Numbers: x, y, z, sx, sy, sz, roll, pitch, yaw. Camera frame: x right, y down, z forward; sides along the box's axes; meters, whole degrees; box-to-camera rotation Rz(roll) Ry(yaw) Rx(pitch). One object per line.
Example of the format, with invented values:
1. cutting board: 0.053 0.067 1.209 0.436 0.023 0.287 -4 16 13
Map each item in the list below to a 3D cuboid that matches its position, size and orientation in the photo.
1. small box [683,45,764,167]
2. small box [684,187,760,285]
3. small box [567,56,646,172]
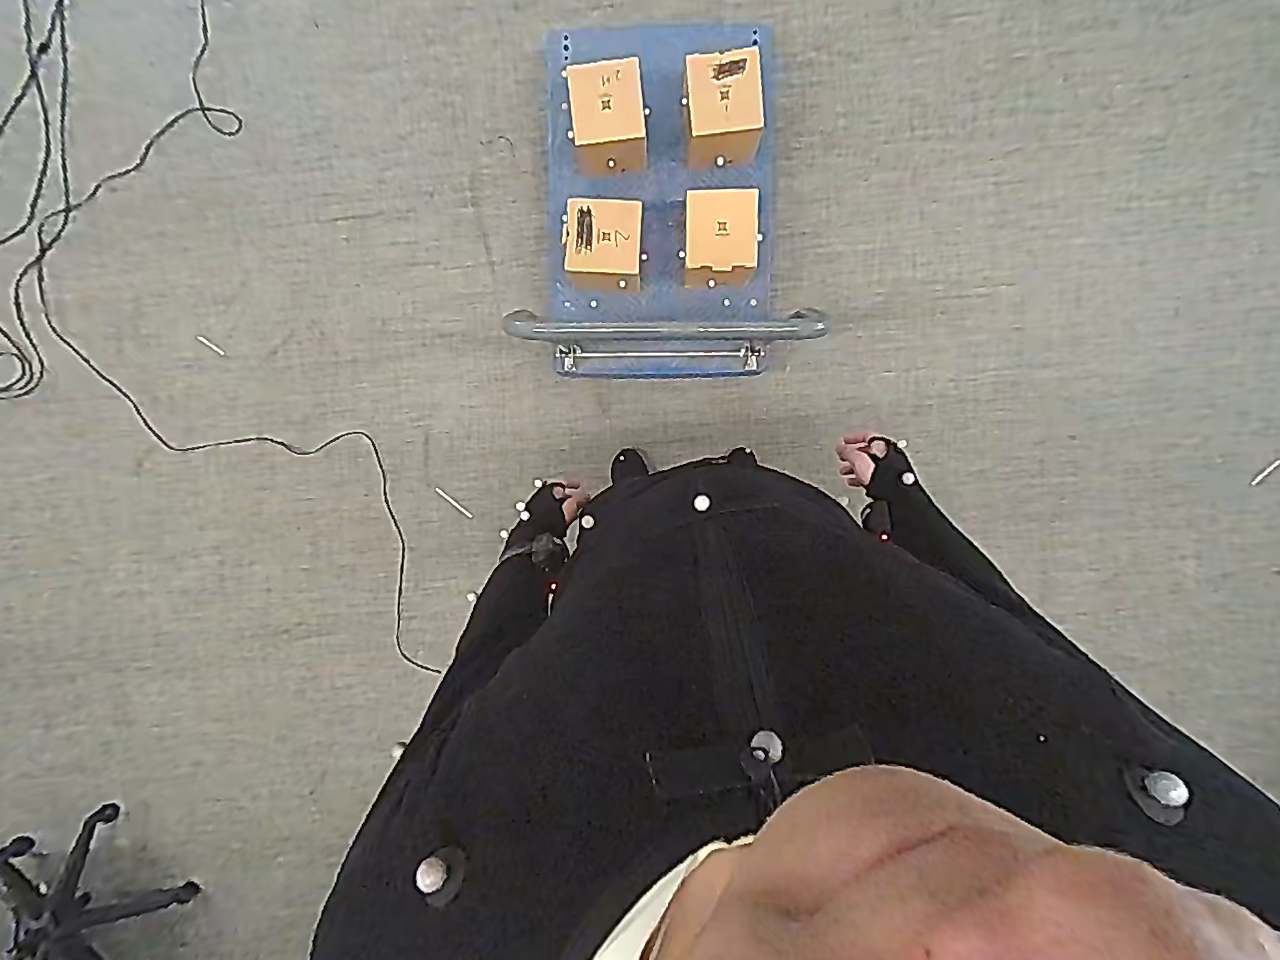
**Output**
1. small box: 0.195 -0.884 1.293 0.168 0.176 0.179 -5 96 3
2. small box: 0.193 -0.590 1.320 0.168 0.176 0.179 0 95 2
3. small box: -0.074 -0.868 1.303 0.168 0.176 0.179 -6 95 1
